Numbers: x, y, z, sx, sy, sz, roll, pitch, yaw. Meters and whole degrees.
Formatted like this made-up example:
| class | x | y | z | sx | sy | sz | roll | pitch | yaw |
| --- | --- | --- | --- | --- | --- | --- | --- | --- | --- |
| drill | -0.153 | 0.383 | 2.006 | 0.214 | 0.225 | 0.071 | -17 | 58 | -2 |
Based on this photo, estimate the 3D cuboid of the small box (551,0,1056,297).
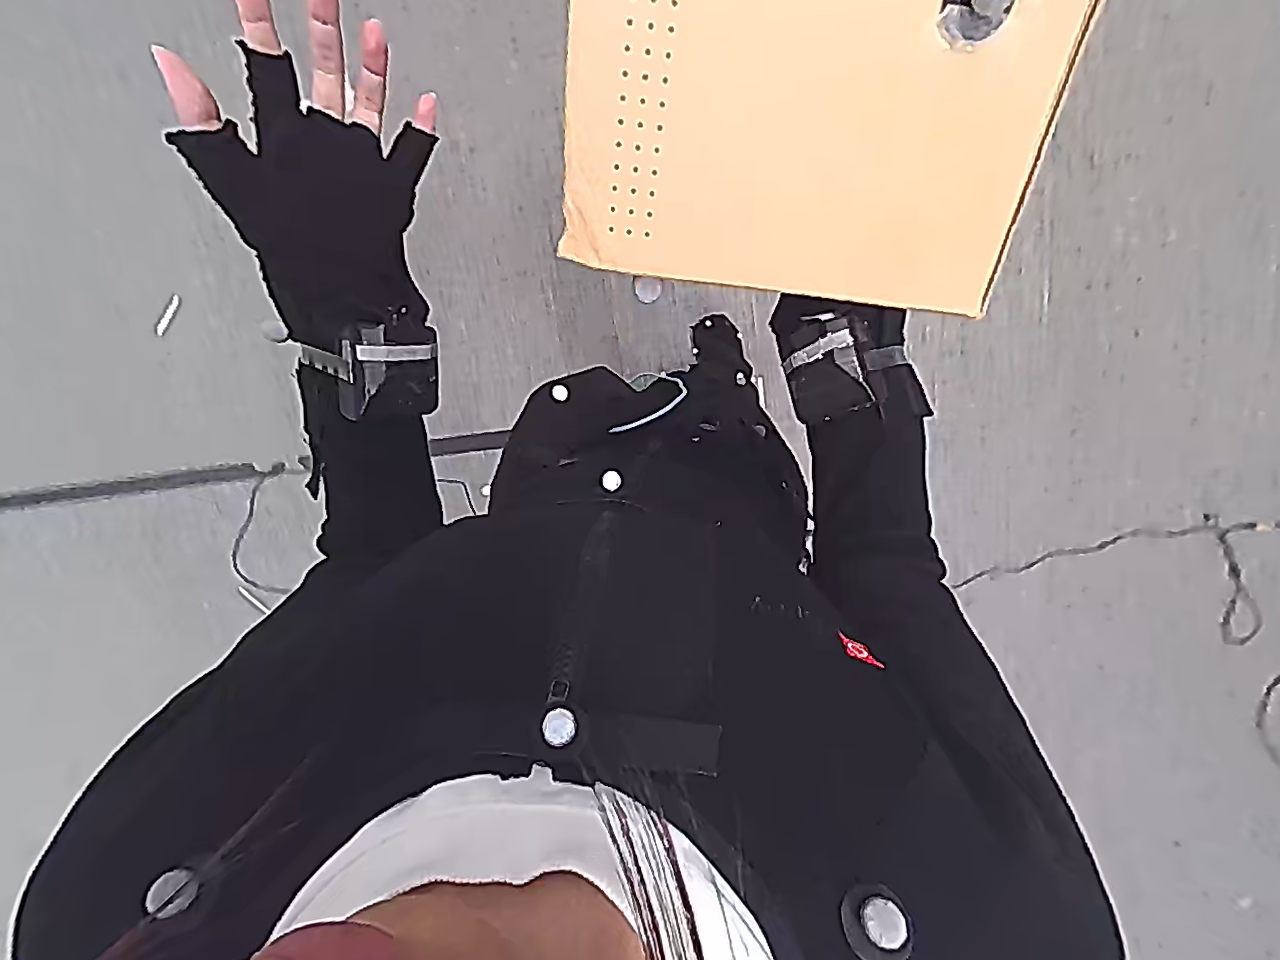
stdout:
| class | x | y | z | sx | sy | sz | roll | pitch | yaw |
| --- | --- | --- | --- | --- | --- | --- | --- | --- | --- |
| small box | 0.049 | -0.189 | 0.248 | 0.176 | 0.168 | 0.179 | 4 | 115 | -5 |
